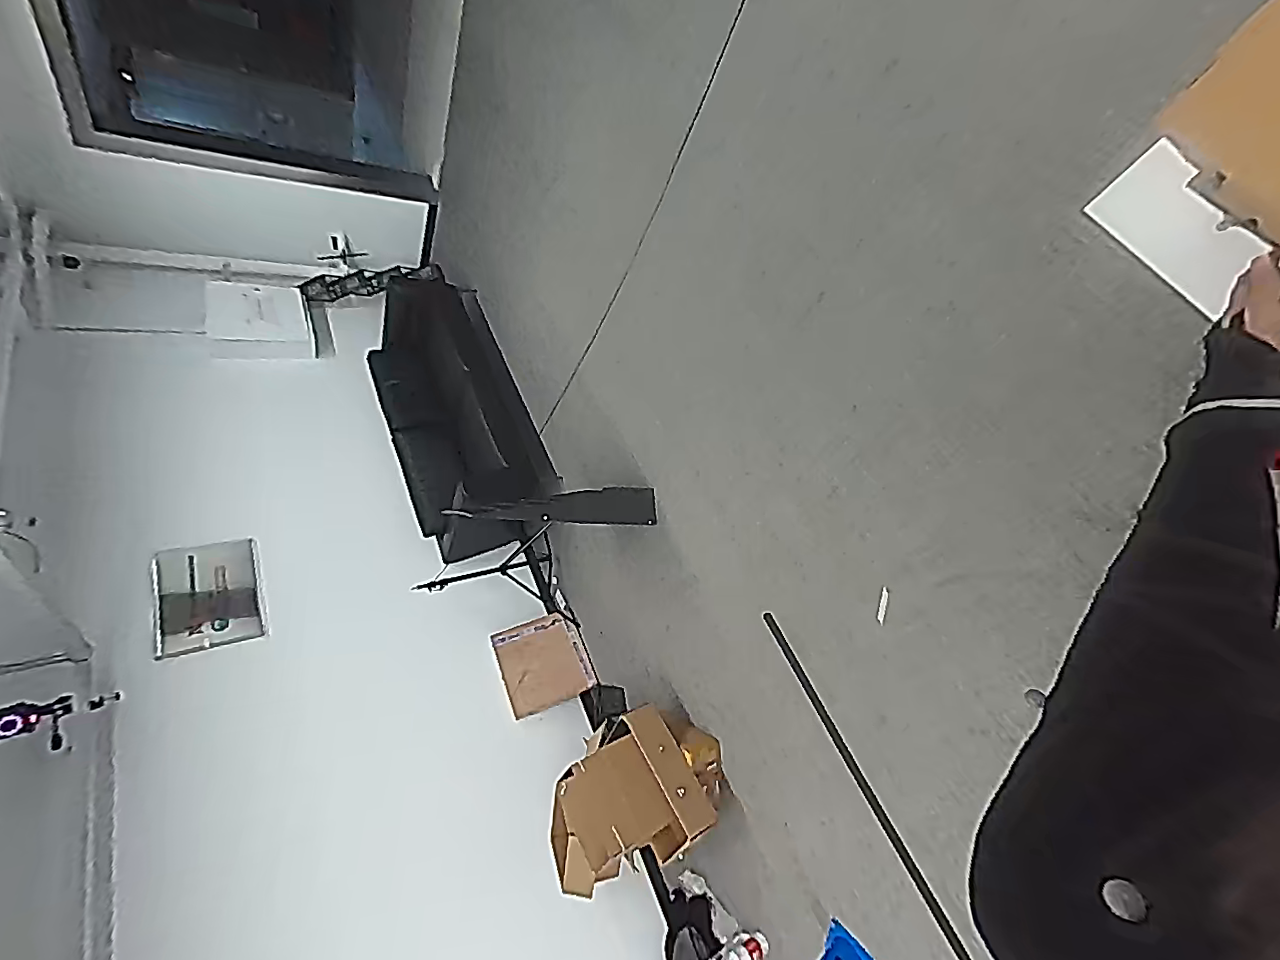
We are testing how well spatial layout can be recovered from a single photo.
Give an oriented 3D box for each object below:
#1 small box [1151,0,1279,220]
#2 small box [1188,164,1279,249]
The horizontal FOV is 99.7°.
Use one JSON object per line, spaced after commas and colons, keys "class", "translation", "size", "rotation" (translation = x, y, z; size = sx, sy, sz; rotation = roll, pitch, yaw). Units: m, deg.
{"class": "small box", "translation": [0.637, -0.342, 0.485], "size": [0.168, 0.176, 0.179], "rotation": [-54, 53, 45]}
{"class": "small box", "translation": [0.769, -0.344, 0.580], "size": [0.179, 0.176, 0.168], "rotation": [-55, 53, 44]}
